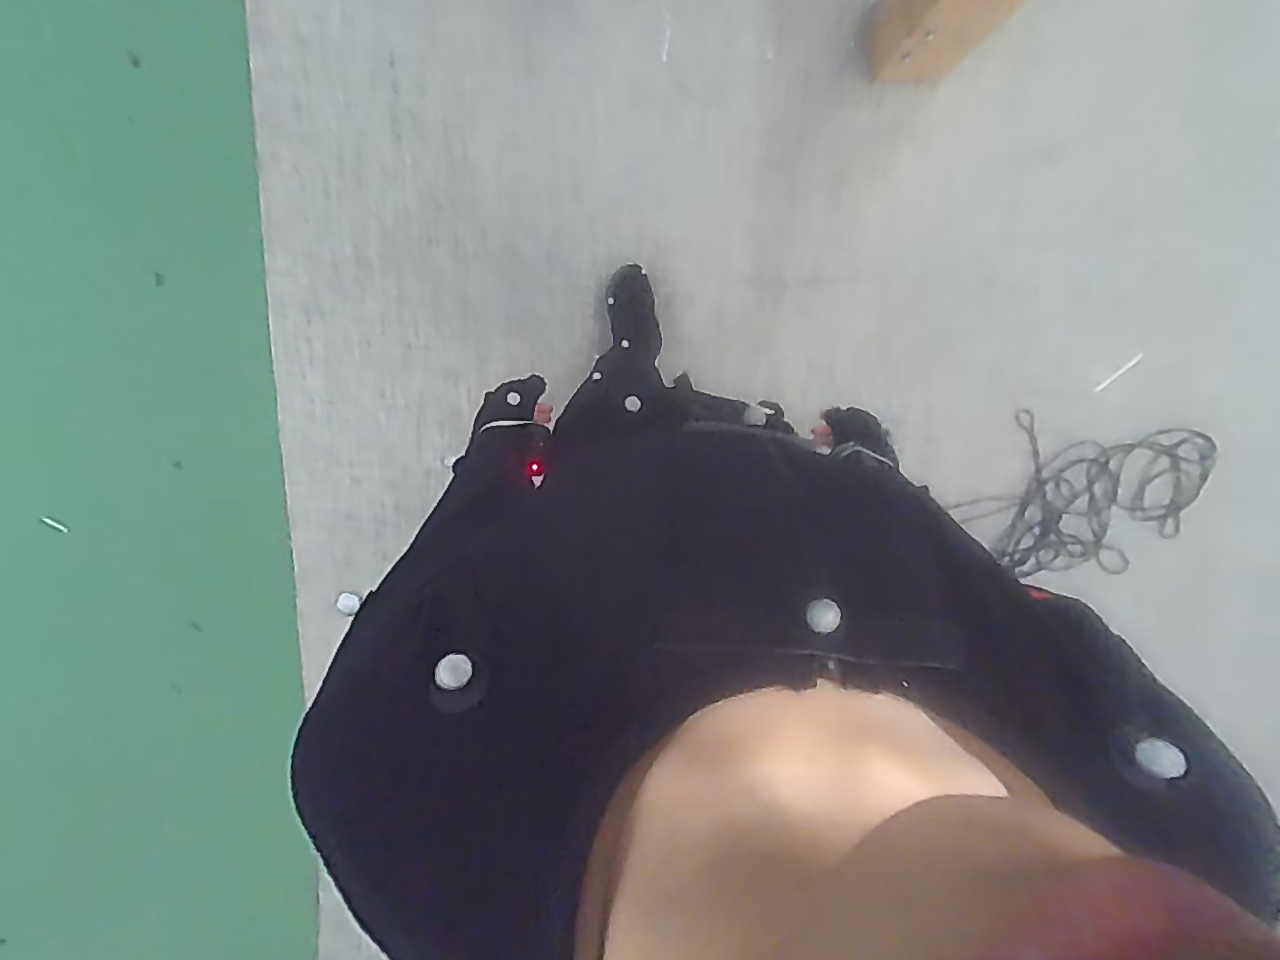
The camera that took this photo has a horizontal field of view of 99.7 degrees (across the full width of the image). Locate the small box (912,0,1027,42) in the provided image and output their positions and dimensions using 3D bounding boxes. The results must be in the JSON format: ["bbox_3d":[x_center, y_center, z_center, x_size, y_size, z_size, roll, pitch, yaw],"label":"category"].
[{"bbox_3d":[0.627,-0.951,1.001,0.168,0.176,0.179,0,101,2],"label":"small box"}]
